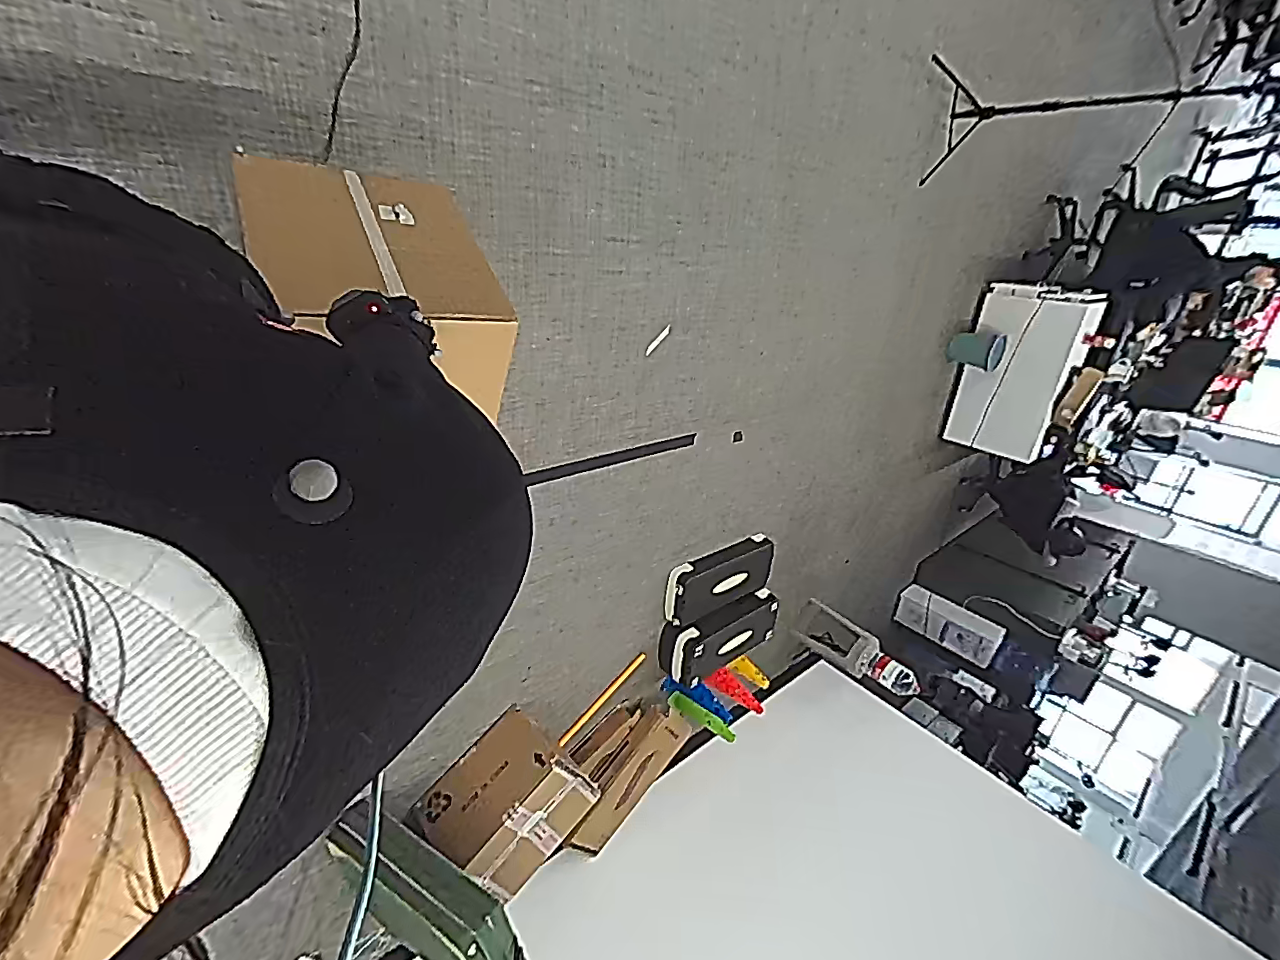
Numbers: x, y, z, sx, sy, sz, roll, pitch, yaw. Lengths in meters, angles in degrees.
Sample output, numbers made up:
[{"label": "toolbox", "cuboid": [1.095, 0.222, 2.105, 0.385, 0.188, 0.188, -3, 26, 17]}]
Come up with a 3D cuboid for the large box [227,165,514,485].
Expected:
[{"label": "large box", "cuboid": [-0.447, -0.254, 0.896, 0.320, 0.408, 0.320, -10, 143, -35]}]
